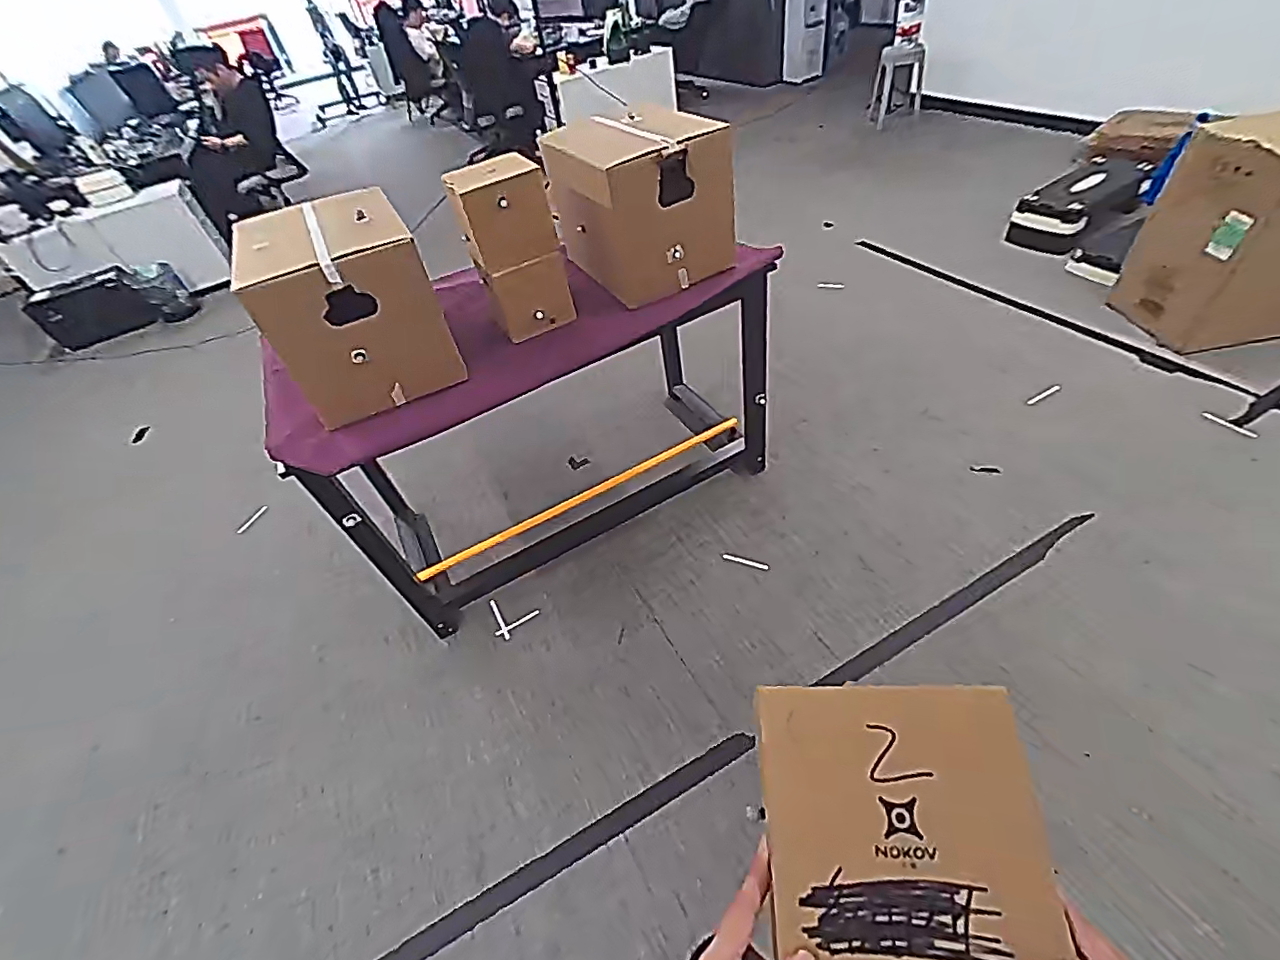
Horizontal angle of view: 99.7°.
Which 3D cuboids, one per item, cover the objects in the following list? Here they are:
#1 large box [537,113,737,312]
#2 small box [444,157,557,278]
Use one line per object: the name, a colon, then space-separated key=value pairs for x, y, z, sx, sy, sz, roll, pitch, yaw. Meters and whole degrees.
large box: x=-0.003 y=-0.673 z=1.346 sx=0.320 sy=0.320 sz=0.408 roll=-27 pitch=46 yaw=-14
small box: x=-0.295 y=-0.569 z=1.175 sx=0.179 sy=0.176 sz=0.168 roll=-27 pitch=47 yaw=-12
